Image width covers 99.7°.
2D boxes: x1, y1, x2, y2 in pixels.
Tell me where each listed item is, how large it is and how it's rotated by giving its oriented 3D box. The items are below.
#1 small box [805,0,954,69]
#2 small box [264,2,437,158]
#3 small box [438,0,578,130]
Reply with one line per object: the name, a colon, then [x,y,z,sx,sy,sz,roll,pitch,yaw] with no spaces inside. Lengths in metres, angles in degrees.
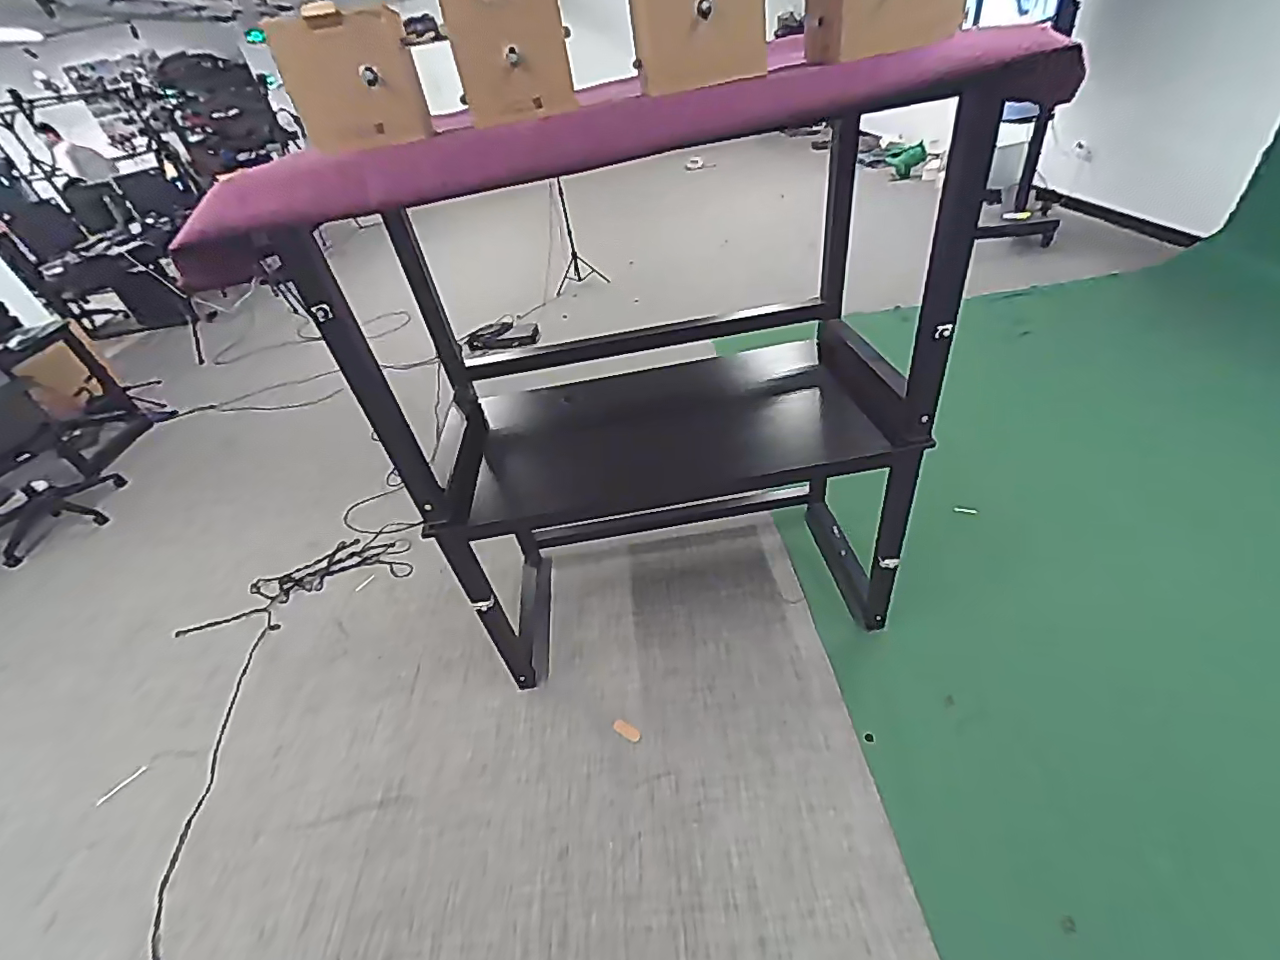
small box: [0.359,-0.745,0.815,0.179,0.176,0.168,-11,39,3]
small box: [-0.433,-0.618,0.848,0.168,0.176,0.179,-12,37,-4]
small box: [-0.197,-0.666,0.852,0.168,0.176,0.179,-12,38,-2]
